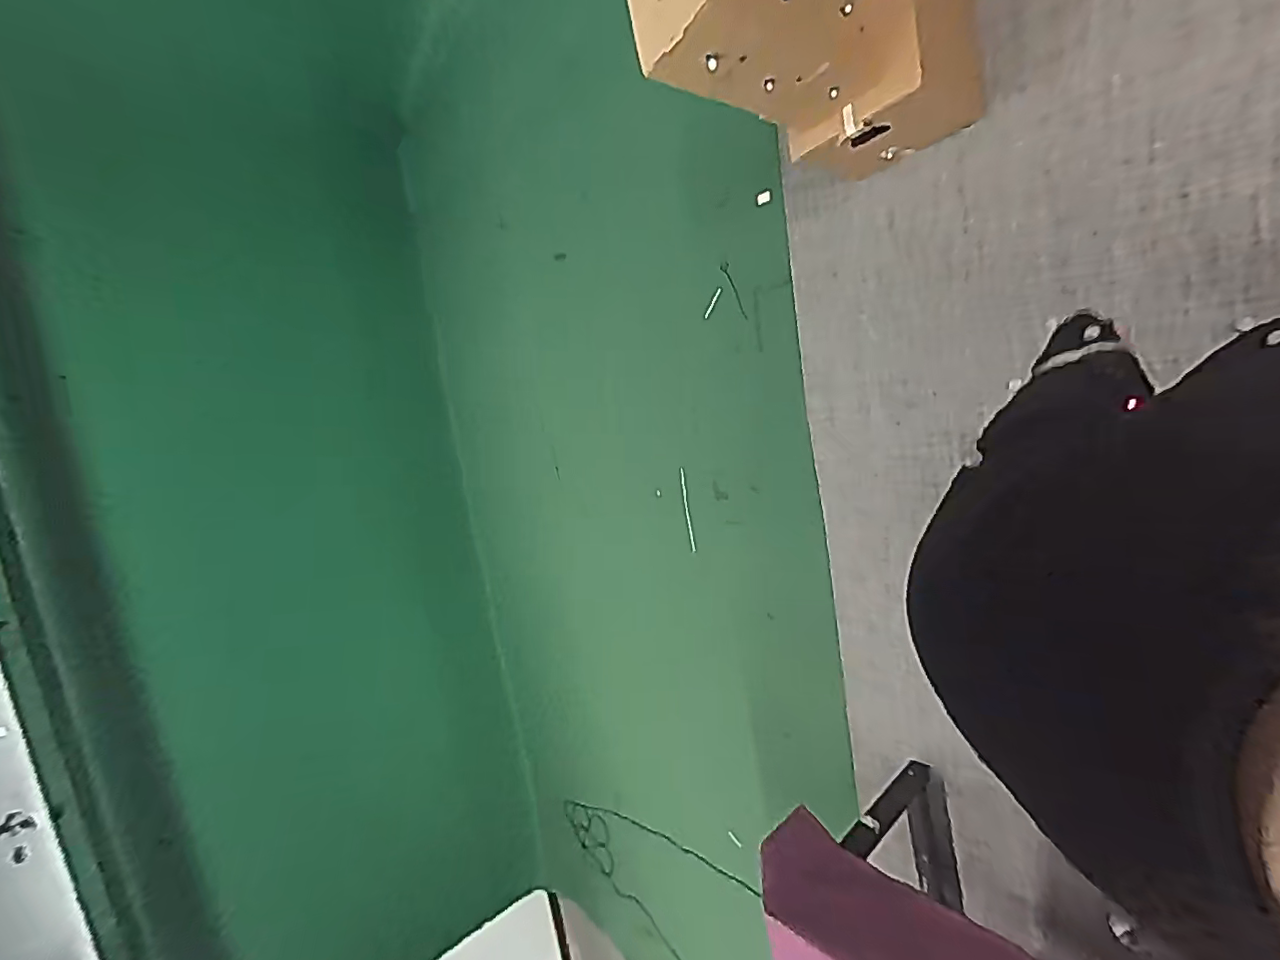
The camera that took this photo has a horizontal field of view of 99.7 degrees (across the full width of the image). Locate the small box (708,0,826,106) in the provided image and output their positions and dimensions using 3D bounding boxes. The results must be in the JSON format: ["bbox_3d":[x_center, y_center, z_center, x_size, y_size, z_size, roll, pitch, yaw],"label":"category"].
[{"bbox_3d":[0.227,-0.847,1.023,0.168,0.176,0.179,-11,92,52],"label":"small box"}]

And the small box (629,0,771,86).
[{"bbox_3d":[0.102,-0.813,0.922,0.168,0.176,0.179,-7,96,52],"label":"small box"}]

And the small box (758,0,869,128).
[{"bbox_3d":[0.354,-0.873,1.123,0.179,0.176,0.168,-4,98,53],"label":"small box"}]

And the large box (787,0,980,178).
[{"bbox_3d":[0.540,-0.991,1.250,0.320,0.320,0.408,-2,99,52],"label":"large box"}]
